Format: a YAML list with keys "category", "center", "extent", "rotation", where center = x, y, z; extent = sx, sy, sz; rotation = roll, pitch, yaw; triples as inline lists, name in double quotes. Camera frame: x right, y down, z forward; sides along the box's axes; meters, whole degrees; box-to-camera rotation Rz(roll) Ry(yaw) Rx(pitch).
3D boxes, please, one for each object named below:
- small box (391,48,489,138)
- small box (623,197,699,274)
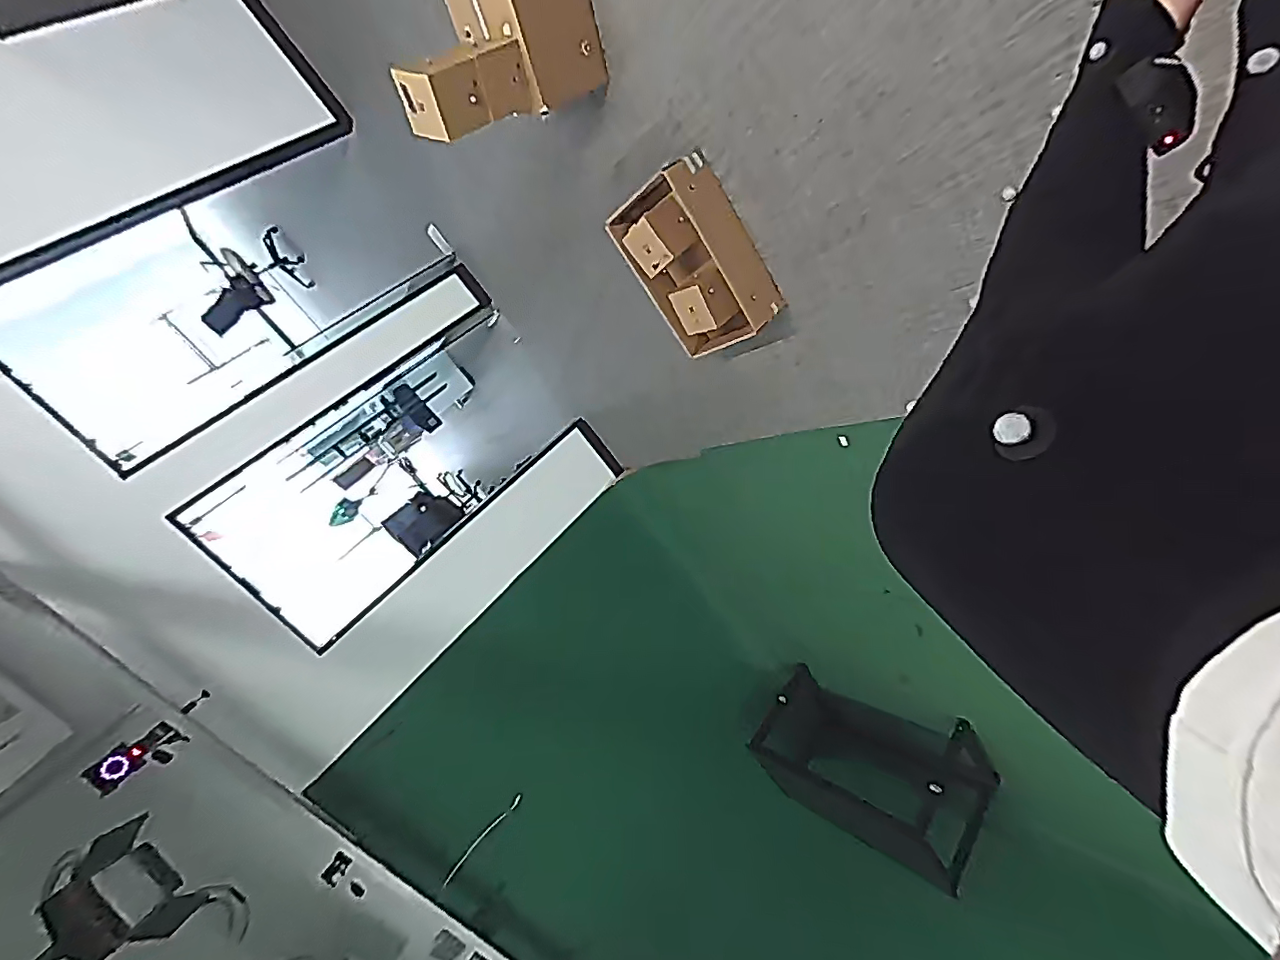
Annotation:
- category: "small box"
  center: [-0.572, -1.123, 1.564]
  extent: [0.179, 0.176, 0.168]
  rotation: [29, 151, 26]
- category: "small box"
  center: [0.077, -0.889, 1.954]
  extent: [0.179, 0.176, 0.168]
  rotation: [51, 154, -14]
